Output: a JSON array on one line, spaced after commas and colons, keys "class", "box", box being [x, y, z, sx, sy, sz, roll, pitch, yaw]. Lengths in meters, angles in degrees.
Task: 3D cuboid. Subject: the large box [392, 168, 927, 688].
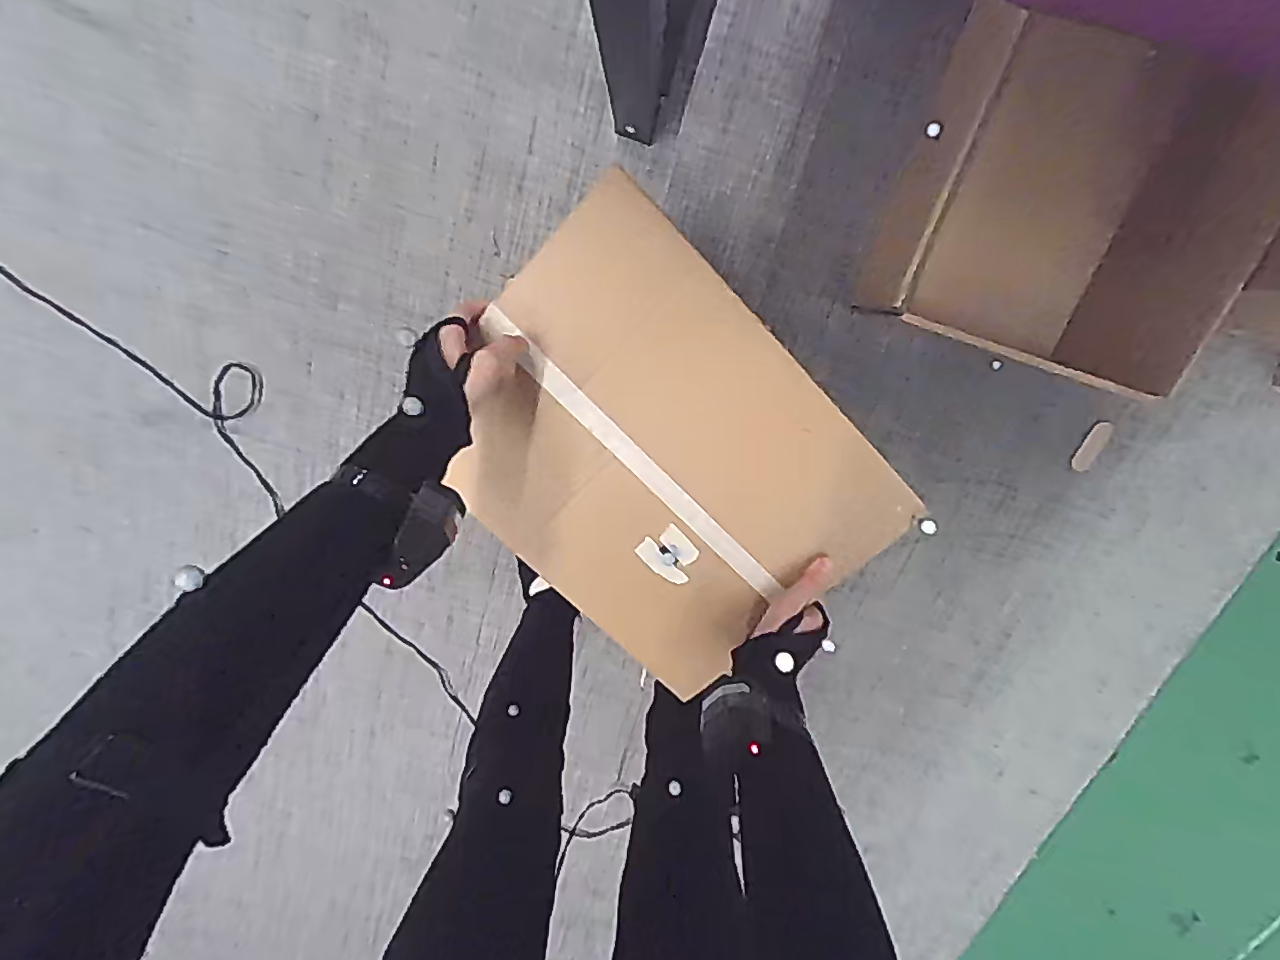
[{"class": "large box", "box": [0.022, -0.060, 0.632, 0.320, 0.320, 0.408, -42, 102, 15]}]
